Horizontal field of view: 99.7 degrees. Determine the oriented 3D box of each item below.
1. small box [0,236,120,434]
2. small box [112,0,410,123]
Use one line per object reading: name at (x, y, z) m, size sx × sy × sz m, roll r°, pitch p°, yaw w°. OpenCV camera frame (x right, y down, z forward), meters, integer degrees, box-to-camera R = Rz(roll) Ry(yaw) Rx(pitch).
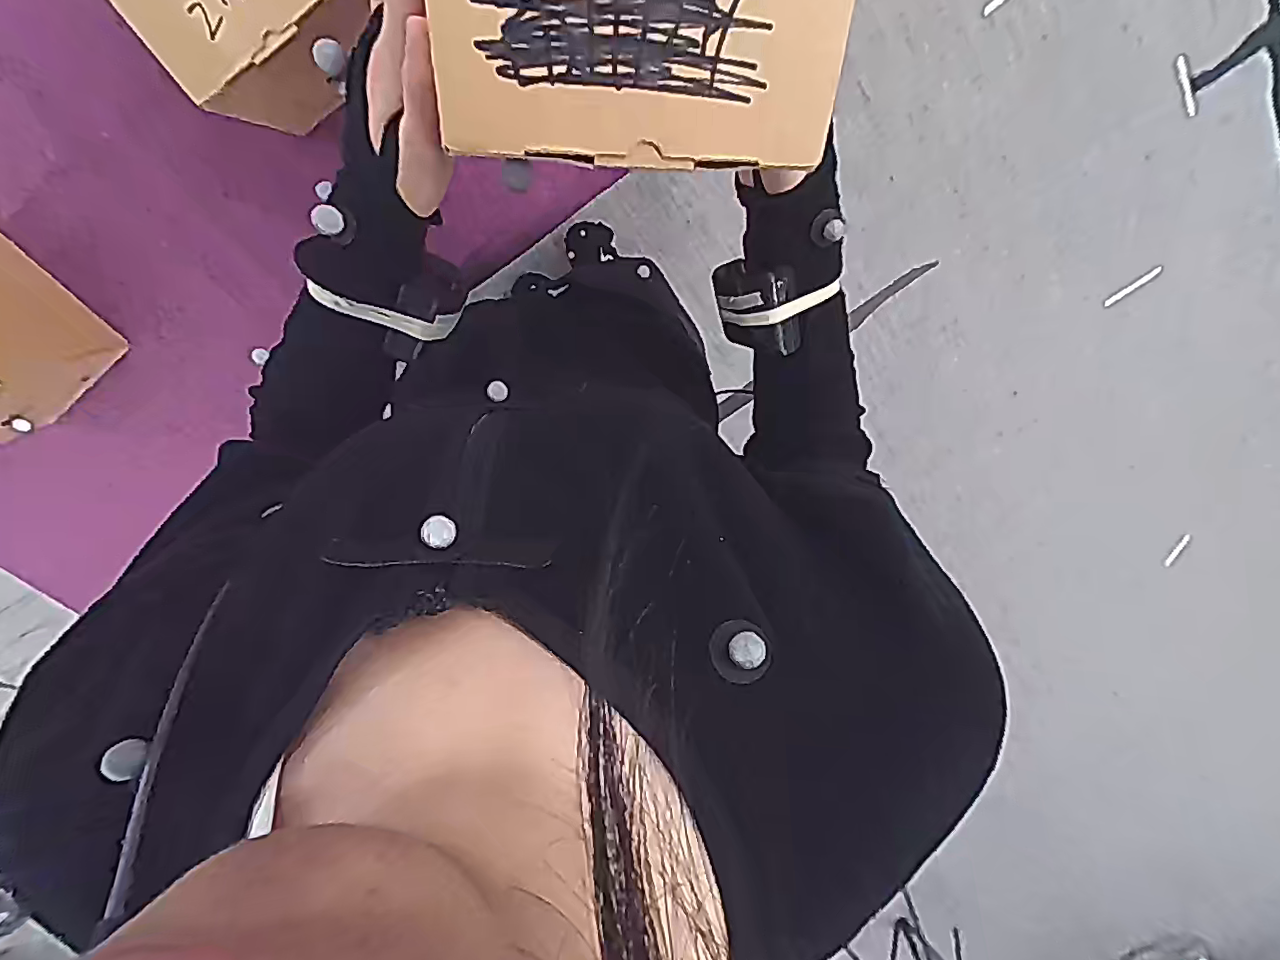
small box at (-0.725, -0.146, 0.564) m, size 0.168 × 0.176 × 0.179 m, roll -34°, pitch 113°, yaw 12°
small box at (-0.331, -0.439, 0.451) m, size 0.168 × 0.176 × 0.179 m, roll -30°, pitch 115°, yaw 11°
